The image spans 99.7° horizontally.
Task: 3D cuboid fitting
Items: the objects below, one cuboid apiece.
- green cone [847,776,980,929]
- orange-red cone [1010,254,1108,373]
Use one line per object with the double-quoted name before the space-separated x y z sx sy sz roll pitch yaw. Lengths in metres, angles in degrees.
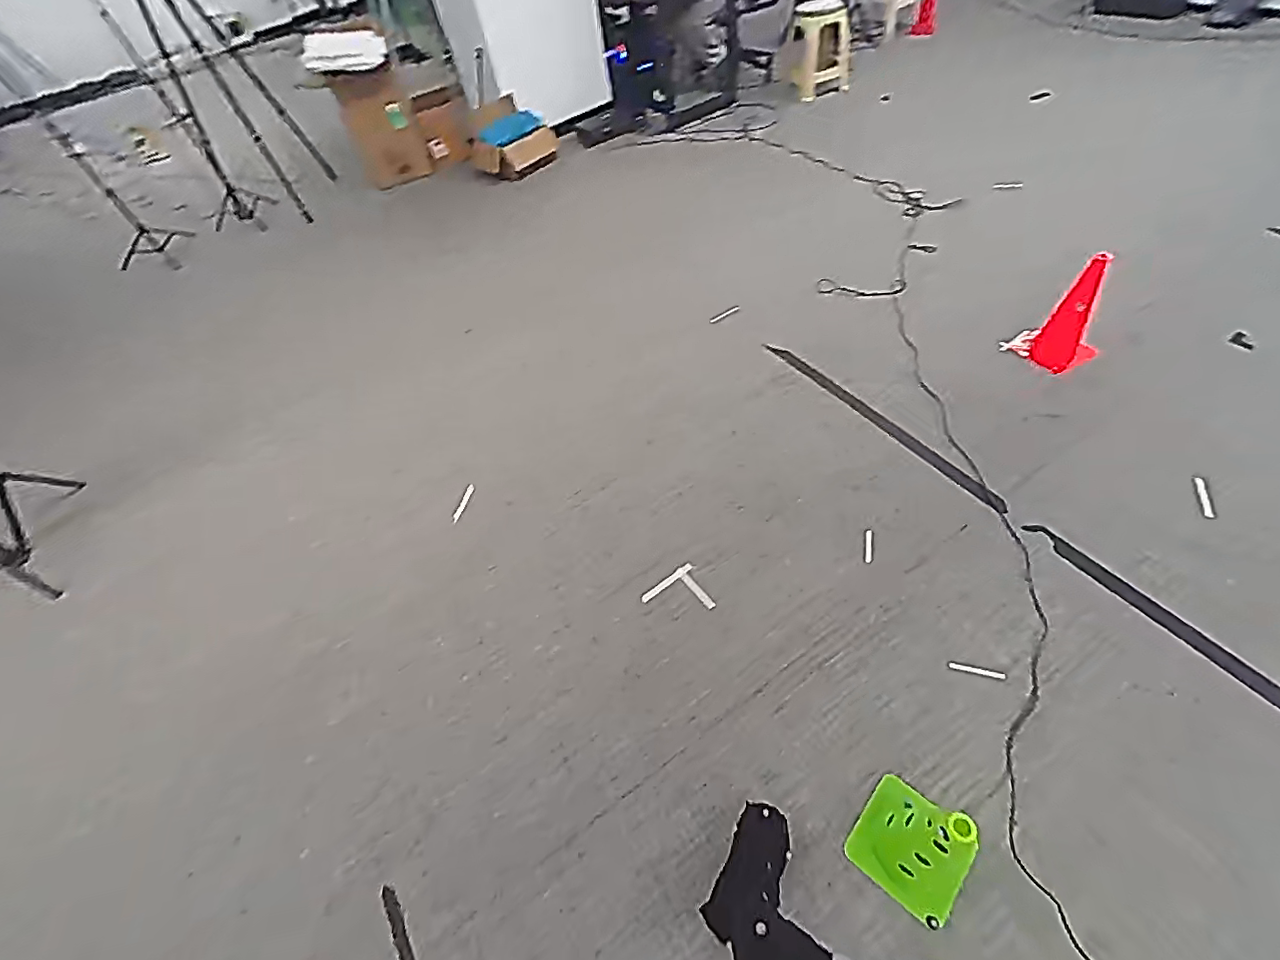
"green cone" 0.525 0.637 0.968 0.202 0.368 0.200 30 62 31
"orange-red cone" 1.414 -0.562 1.758 0.198 0.360 0.199 -26 52 -9
